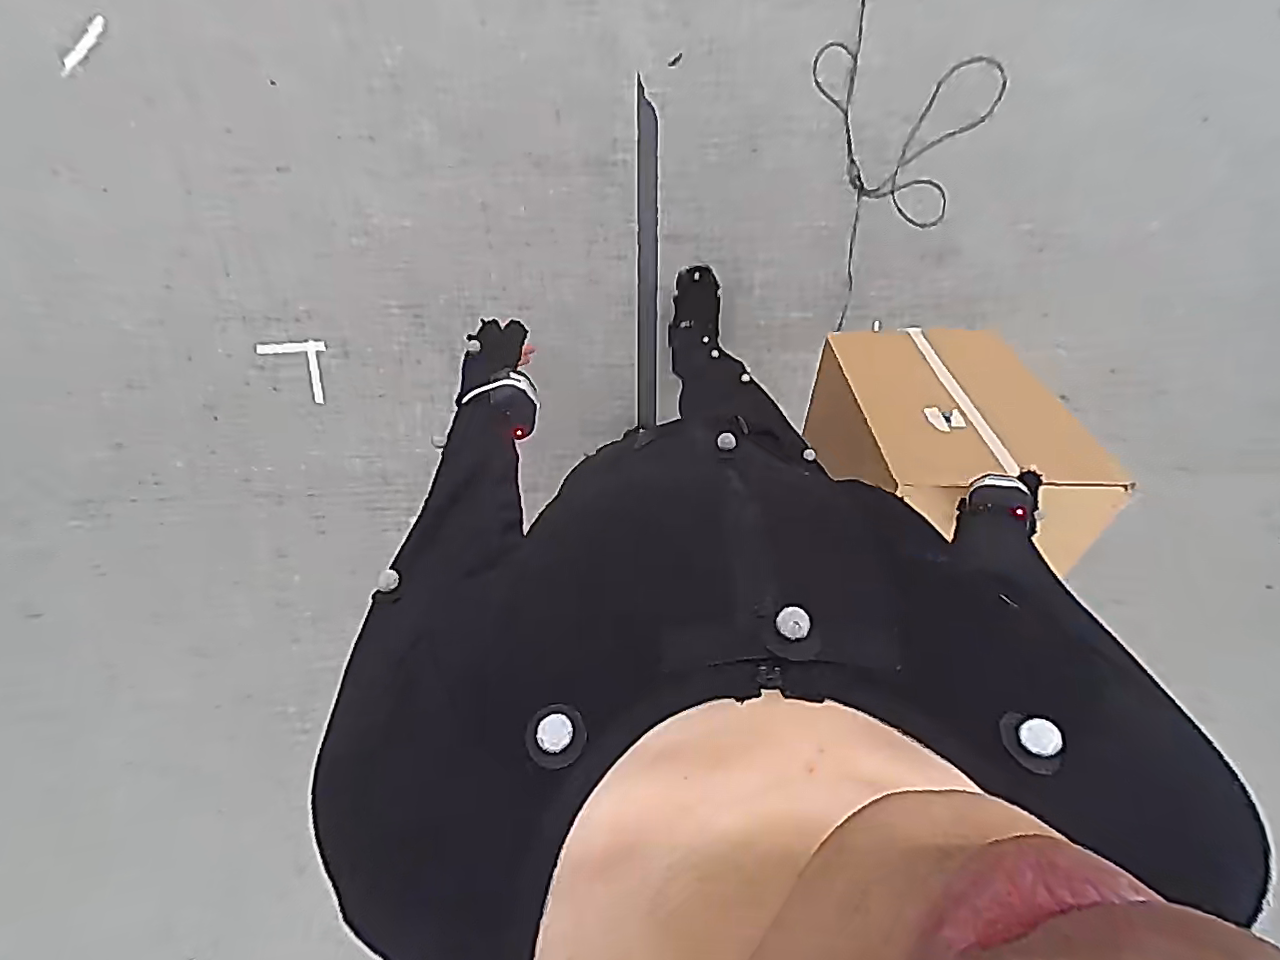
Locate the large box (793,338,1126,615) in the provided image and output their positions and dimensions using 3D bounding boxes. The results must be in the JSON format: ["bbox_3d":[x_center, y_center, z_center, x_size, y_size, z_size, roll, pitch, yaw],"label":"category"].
[{"bbox_3d":[0.494,-0.013,0.964,0.320,0.408,0.320,0,134,0],"label":"large box"}]
